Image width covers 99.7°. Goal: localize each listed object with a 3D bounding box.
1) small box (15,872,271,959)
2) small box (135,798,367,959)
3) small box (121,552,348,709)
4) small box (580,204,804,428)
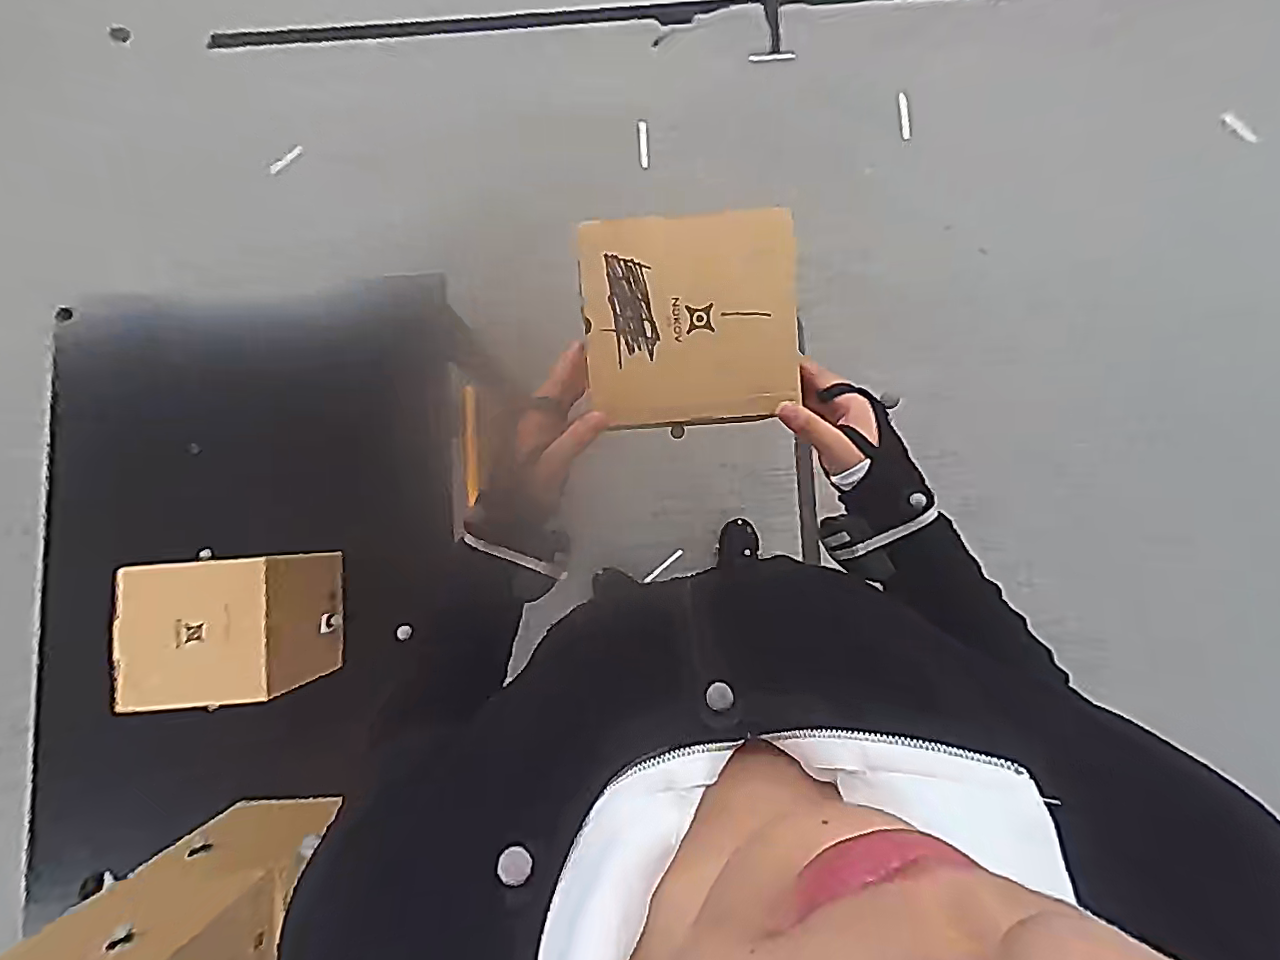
[{"bbox_3d":[-0.480,0.503,0.505,0.179,0.176,0.168,-6,83,0],"label":"small box"},{"bbox_3d":[-0.468,0.518,0.668,0.179,0.176,0.168,-3,84,1],"label":"small box"},{"bbox_3d":[-0.516,0.185,0.708,0.179,0.176,0.168,-5,85,0],"label":"small box"},{"bbox_3d":[0.044,-0.139,0.517,0.179,0.176,0.168,-4,94,0],"label":"small box"}]
